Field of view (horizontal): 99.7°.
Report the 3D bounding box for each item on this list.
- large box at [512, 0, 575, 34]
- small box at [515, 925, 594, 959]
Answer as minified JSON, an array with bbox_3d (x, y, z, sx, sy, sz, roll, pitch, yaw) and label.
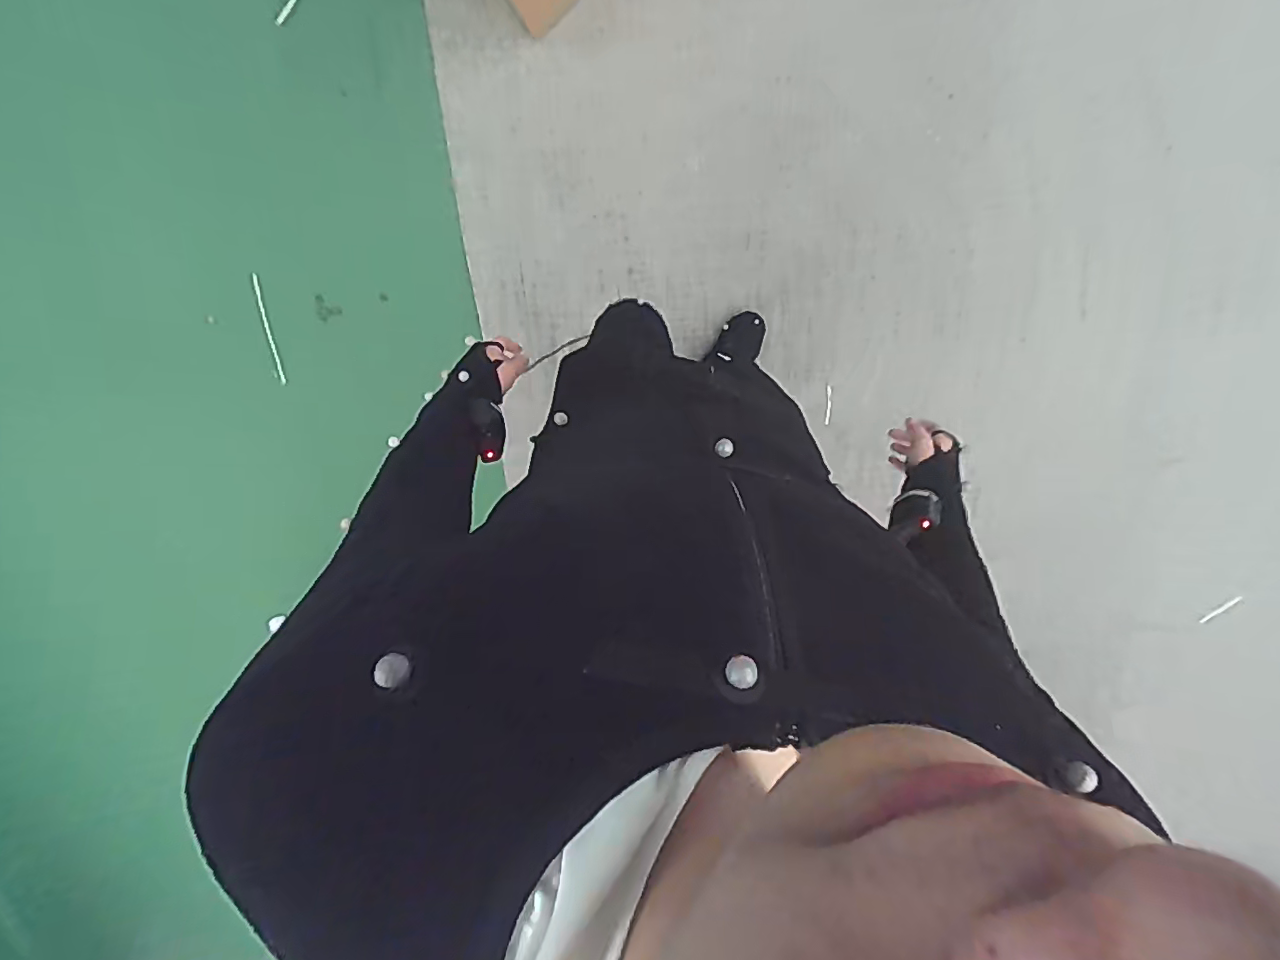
[{"bbox_3d":[-0.192,-1.241,1.081,0.408,0.320,0.320,-34,103,17],"label":"large box"},{"bbox_3d":[-0.198,1.147,1.219,0.168,0.176,0.179,-1,110,4],"label":"small box"}]
